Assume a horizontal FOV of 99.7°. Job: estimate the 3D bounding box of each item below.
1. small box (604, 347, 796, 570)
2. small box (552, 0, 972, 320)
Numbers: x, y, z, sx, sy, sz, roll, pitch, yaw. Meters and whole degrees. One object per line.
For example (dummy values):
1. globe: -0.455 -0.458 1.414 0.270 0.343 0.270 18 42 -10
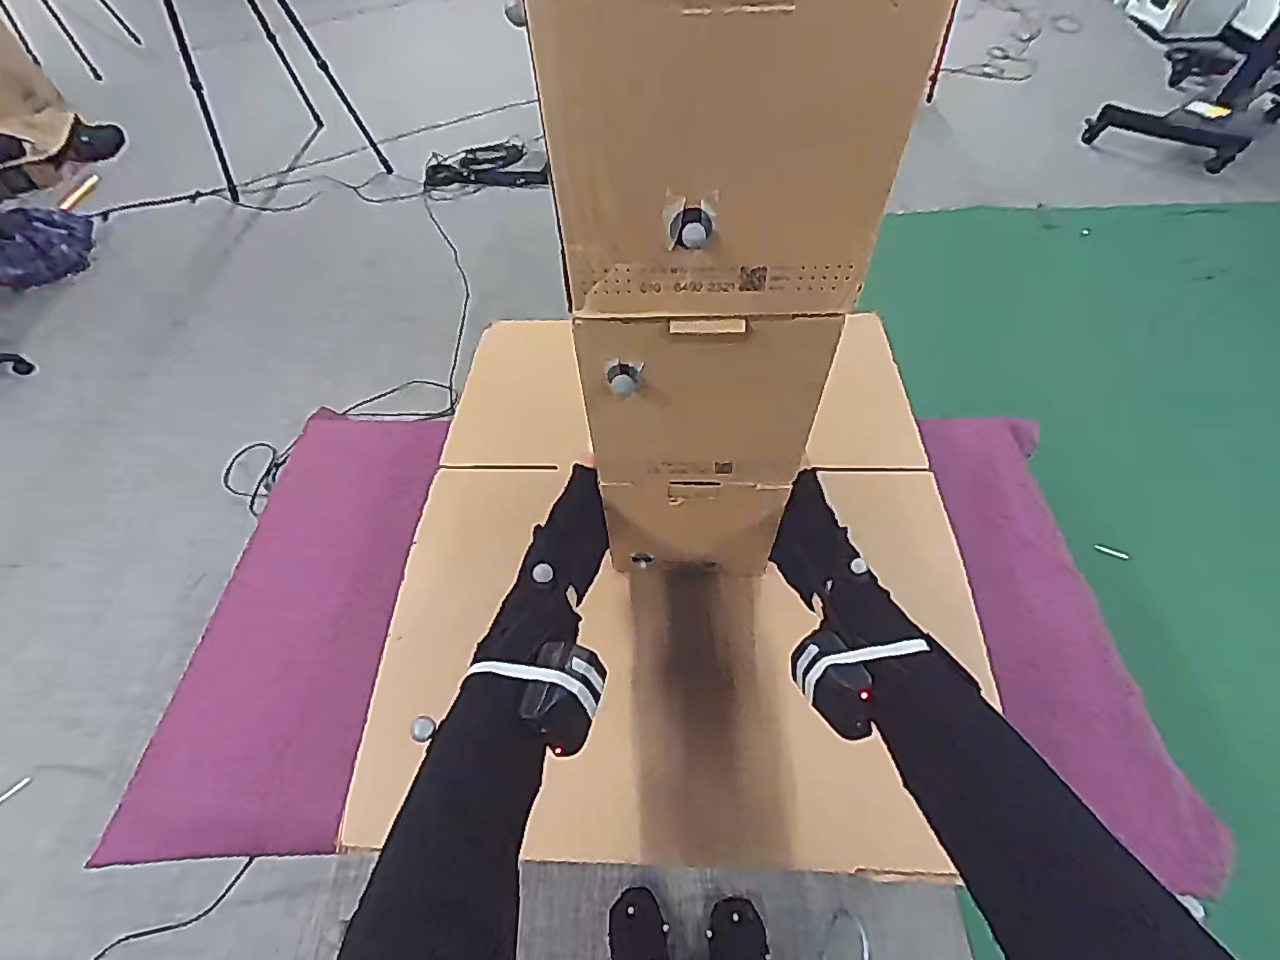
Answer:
1. small box: 0.055 -0.014 0.566 0.168 0.176 0.179 -2 55 2
2. small box: 0.047 -0.213 0.305 0.168 0.176 0.179 -1 54 2
